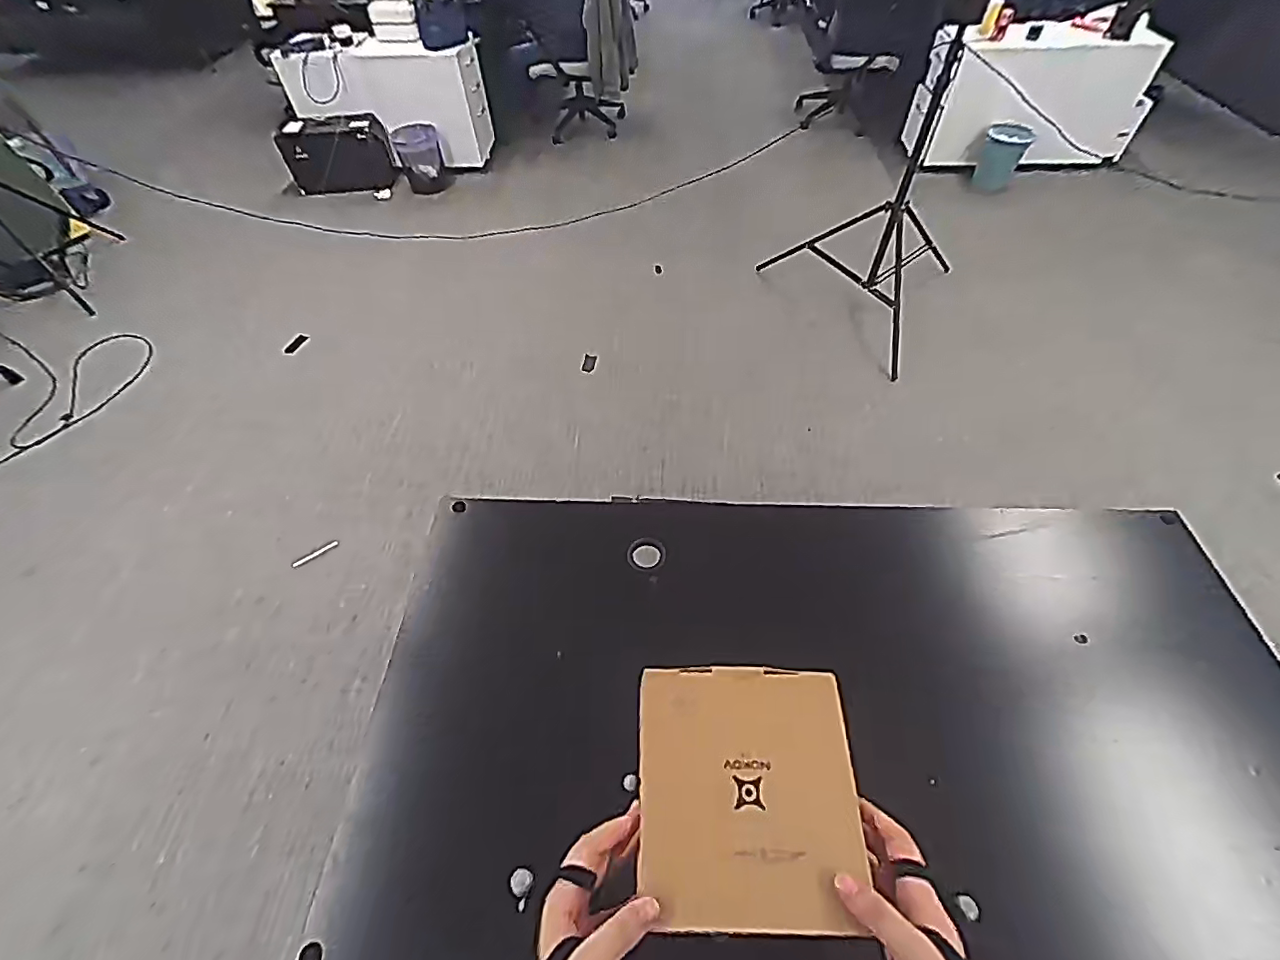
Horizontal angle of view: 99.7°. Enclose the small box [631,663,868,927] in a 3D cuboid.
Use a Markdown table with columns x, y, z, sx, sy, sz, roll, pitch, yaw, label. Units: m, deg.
| x | y | z | sx | sy | sz | roll | pitch | yaw | label |
| --- | --- | --- | --- | --- | --- | --- | --- | --- | --- |
| 0.077 | 0.278 | 0.484 | 0.168 | 0.176 | 0.179 | 1 | 56 | 1 | small box |
